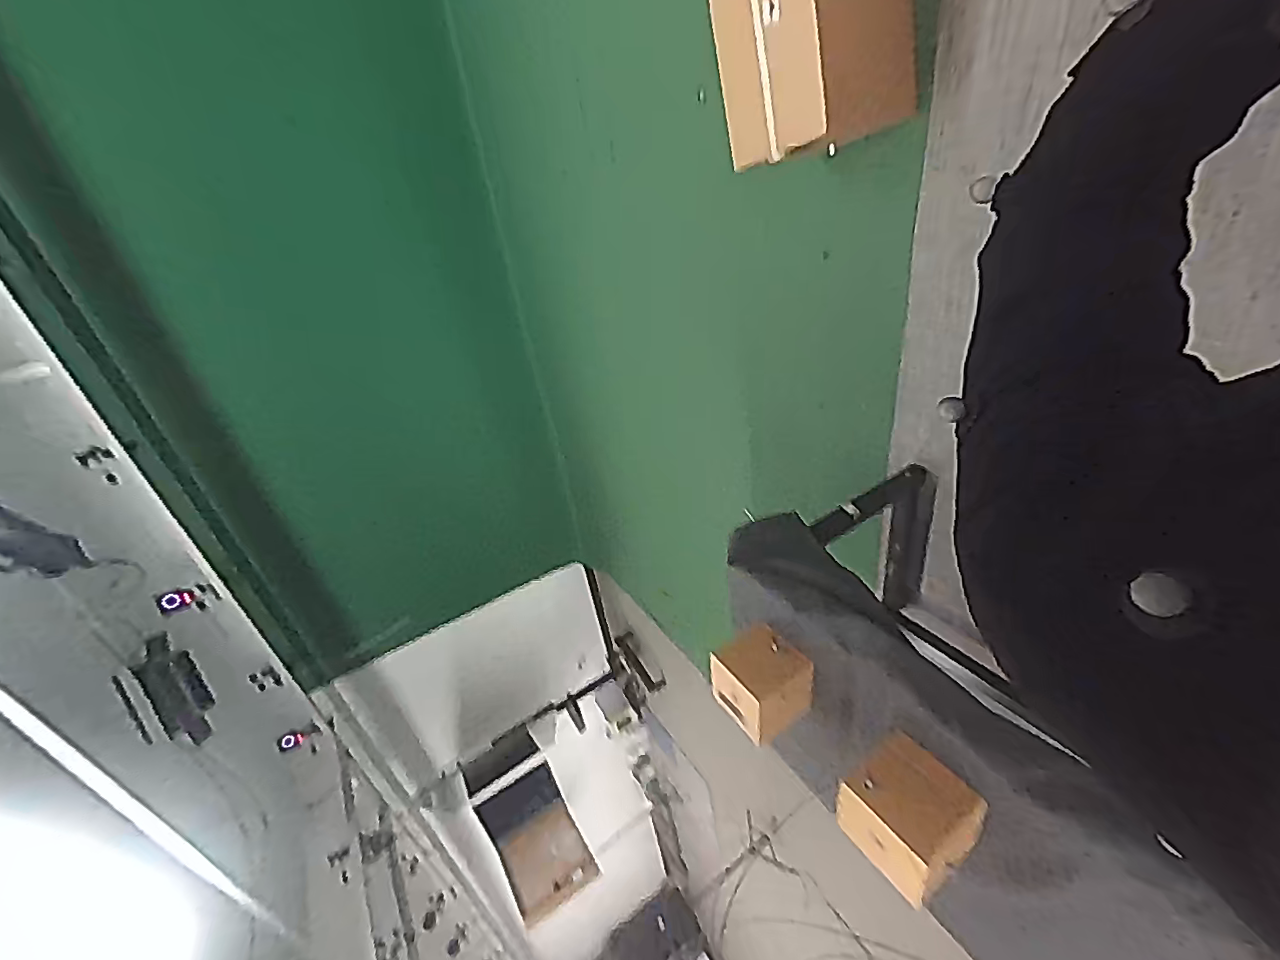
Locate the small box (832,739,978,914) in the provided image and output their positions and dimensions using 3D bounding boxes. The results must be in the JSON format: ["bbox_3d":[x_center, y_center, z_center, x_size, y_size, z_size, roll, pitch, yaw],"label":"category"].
[{"bbox_3d":[0.478,0.621,0.987,0.179,0.176,0.168,35,142,50],"label":"small box"}]
